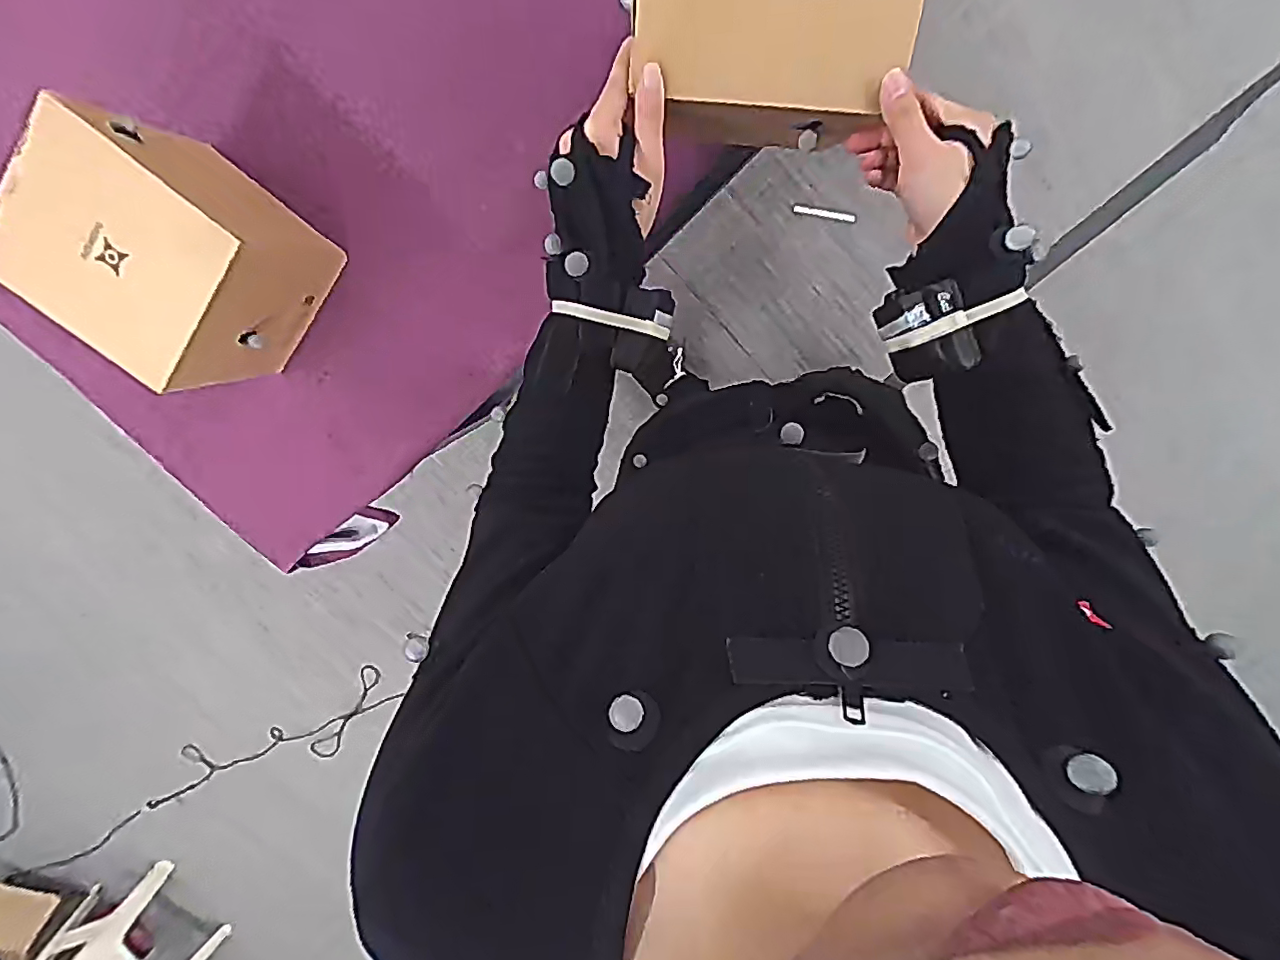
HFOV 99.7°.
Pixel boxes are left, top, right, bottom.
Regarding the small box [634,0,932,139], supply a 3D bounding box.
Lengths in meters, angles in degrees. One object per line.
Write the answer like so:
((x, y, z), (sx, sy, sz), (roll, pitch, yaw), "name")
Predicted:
((0.091, -0.352, 0.381), (0.179, 0.176, 0.168), (5, 114, 0), "small box")

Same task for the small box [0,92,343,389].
((-0.437, -0.216, 0.526), (0.179, 0.176, 0.168), (38, 105, -8), "small box")
